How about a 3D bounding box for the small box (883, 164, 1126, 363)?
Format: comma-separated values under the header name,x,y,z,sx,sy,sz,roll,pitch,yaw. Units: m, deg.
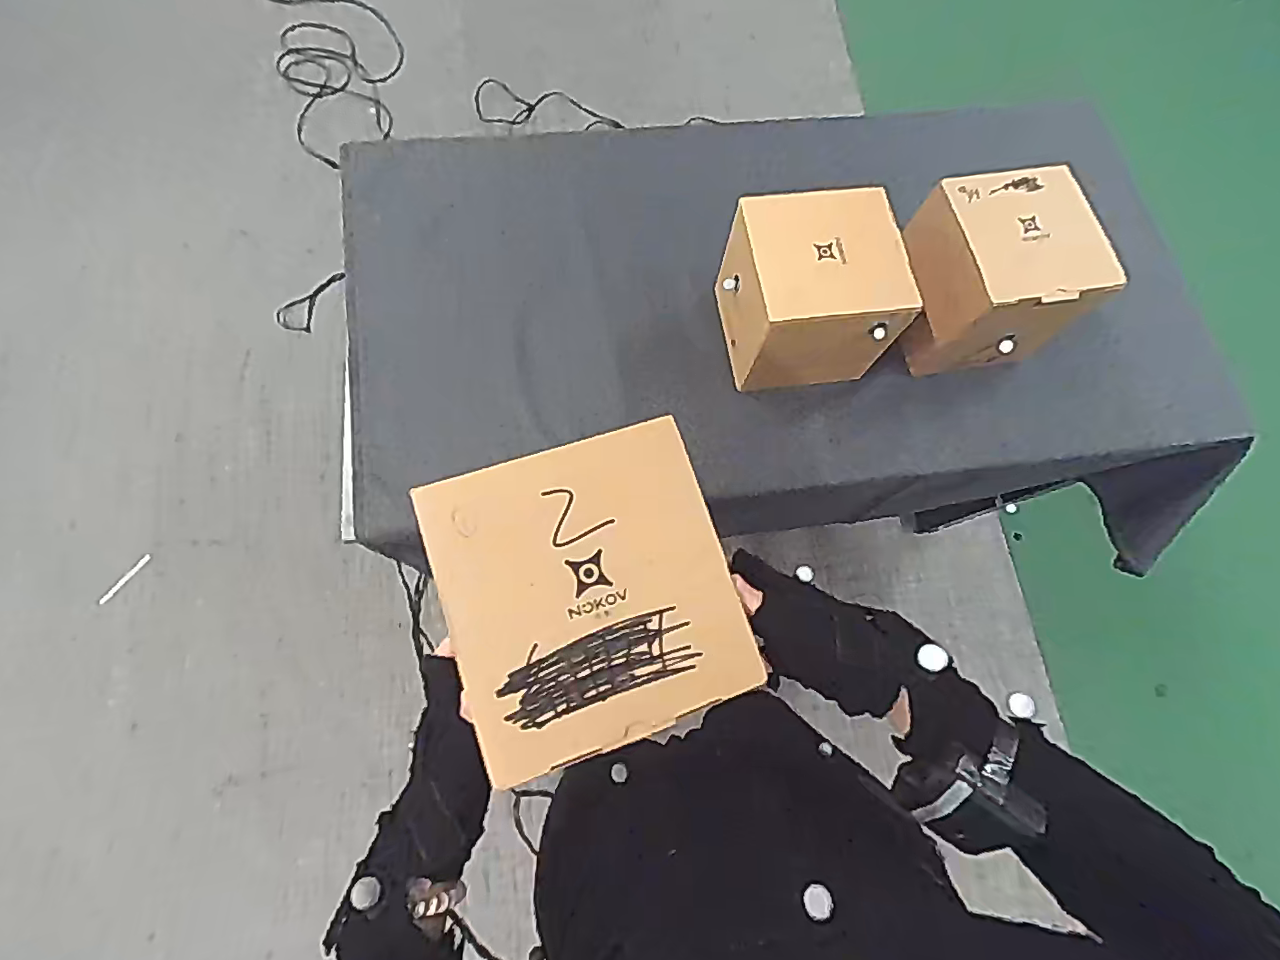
name,x,y,z,sx,sy,sz,roll,pitch,yaw
small box,0.444,-0.262,0.691,0.168,0.176,0.179,-7,75,-6
